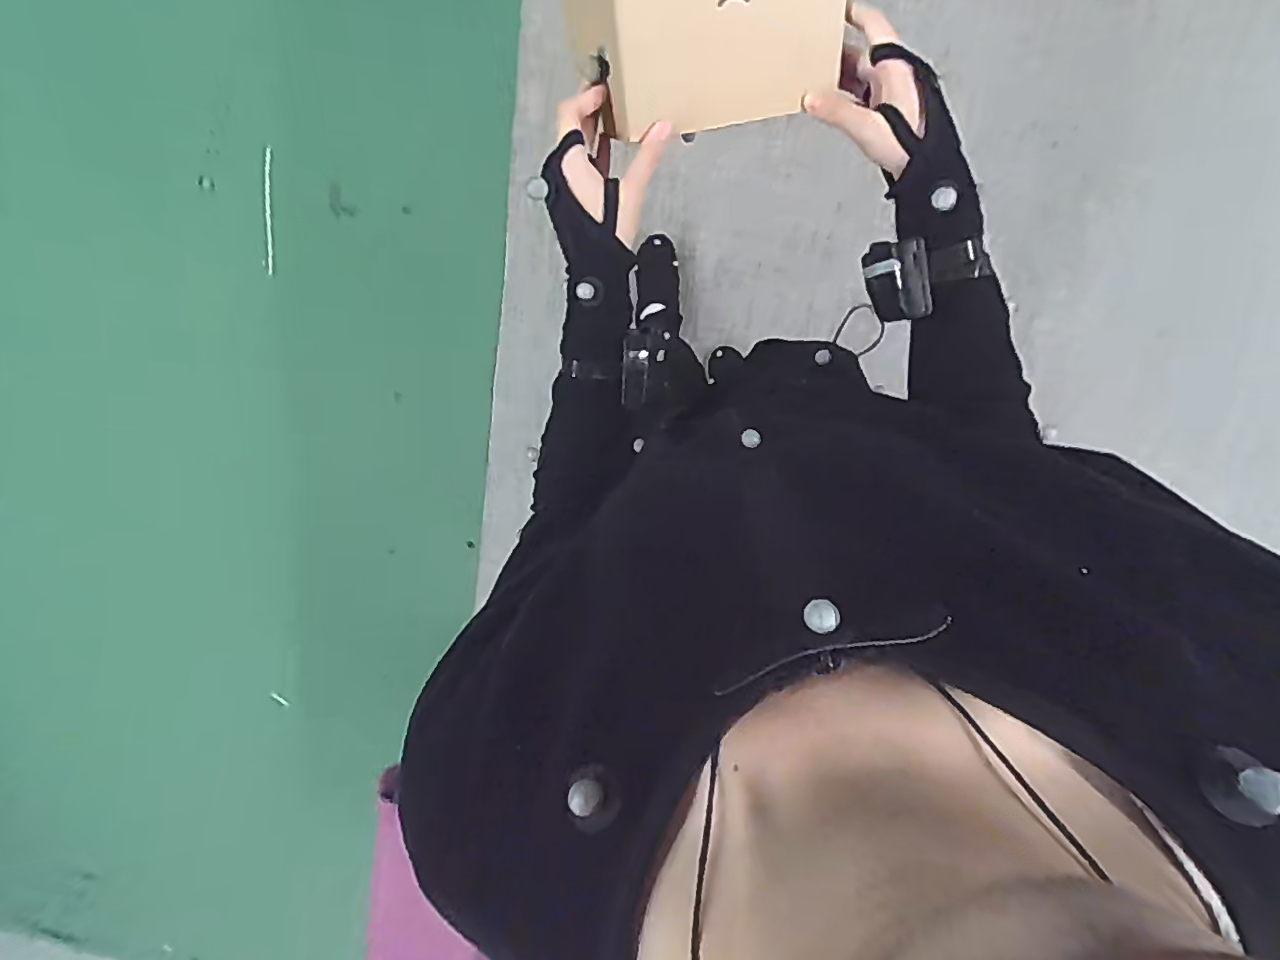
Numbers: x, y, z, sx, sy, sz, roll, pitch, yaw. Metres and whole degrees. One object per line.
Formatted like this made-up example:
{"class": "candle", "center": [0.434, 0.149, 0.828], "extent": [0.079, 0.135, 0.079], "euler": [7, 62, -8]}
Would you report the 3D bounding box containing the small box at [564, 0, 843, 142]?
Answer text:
{"class": "small box", "center": [0.037, -0.374, 0.405], "extent": [0.168, 0.176, 0.179], "euler": [-16, 128, -8]}
